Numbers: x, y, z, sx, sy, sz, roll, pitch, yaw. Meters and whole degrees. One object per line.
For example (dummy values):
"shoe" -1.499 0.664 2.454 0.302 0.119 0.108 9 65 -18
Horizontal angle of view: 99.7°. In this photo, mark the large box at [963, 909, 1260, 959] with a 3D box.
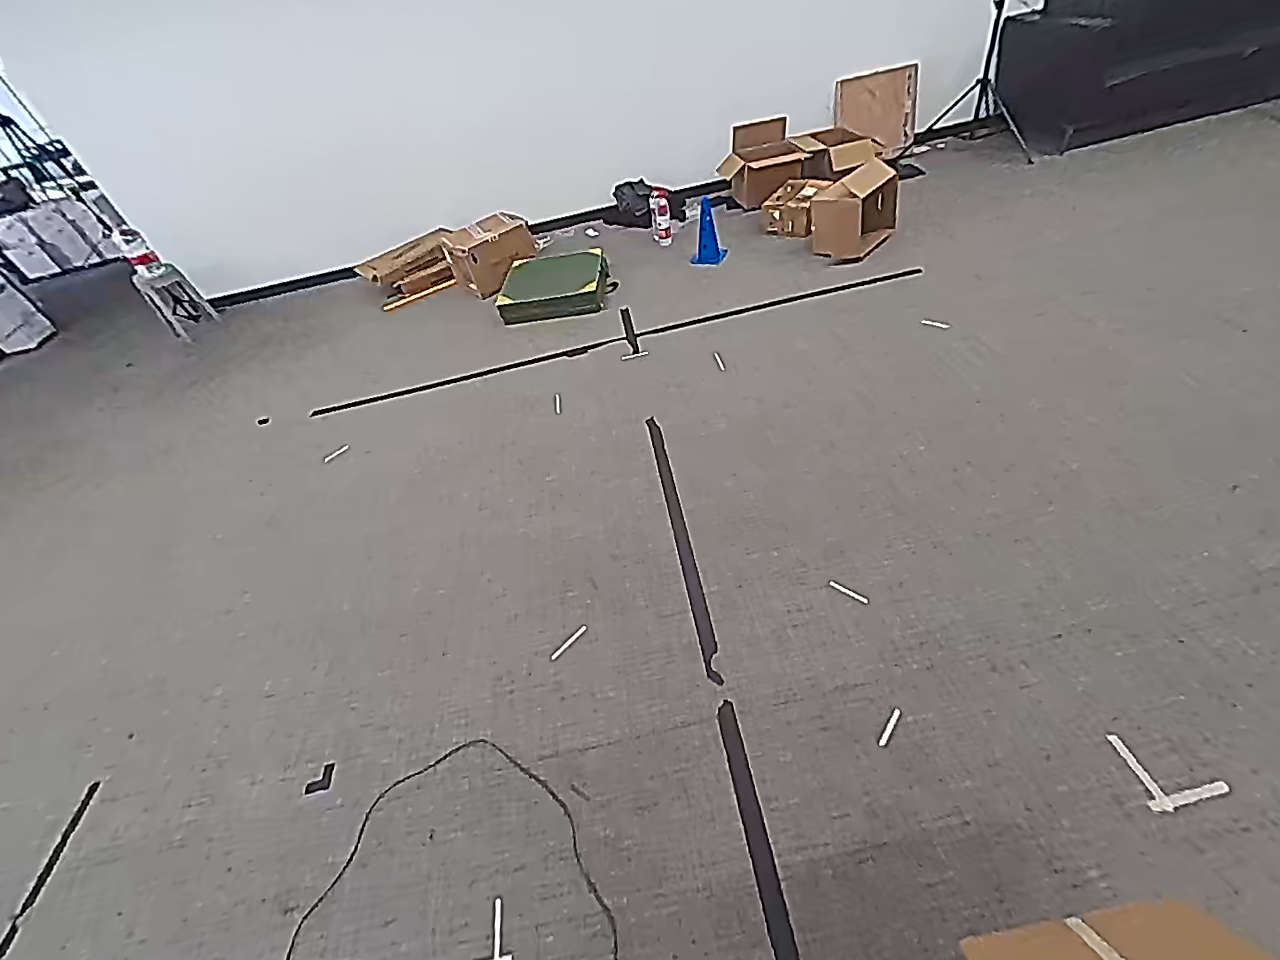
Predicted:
"large box" 0.604 0.726 0.520 0.320 0.408 0.320 -14 81 3
